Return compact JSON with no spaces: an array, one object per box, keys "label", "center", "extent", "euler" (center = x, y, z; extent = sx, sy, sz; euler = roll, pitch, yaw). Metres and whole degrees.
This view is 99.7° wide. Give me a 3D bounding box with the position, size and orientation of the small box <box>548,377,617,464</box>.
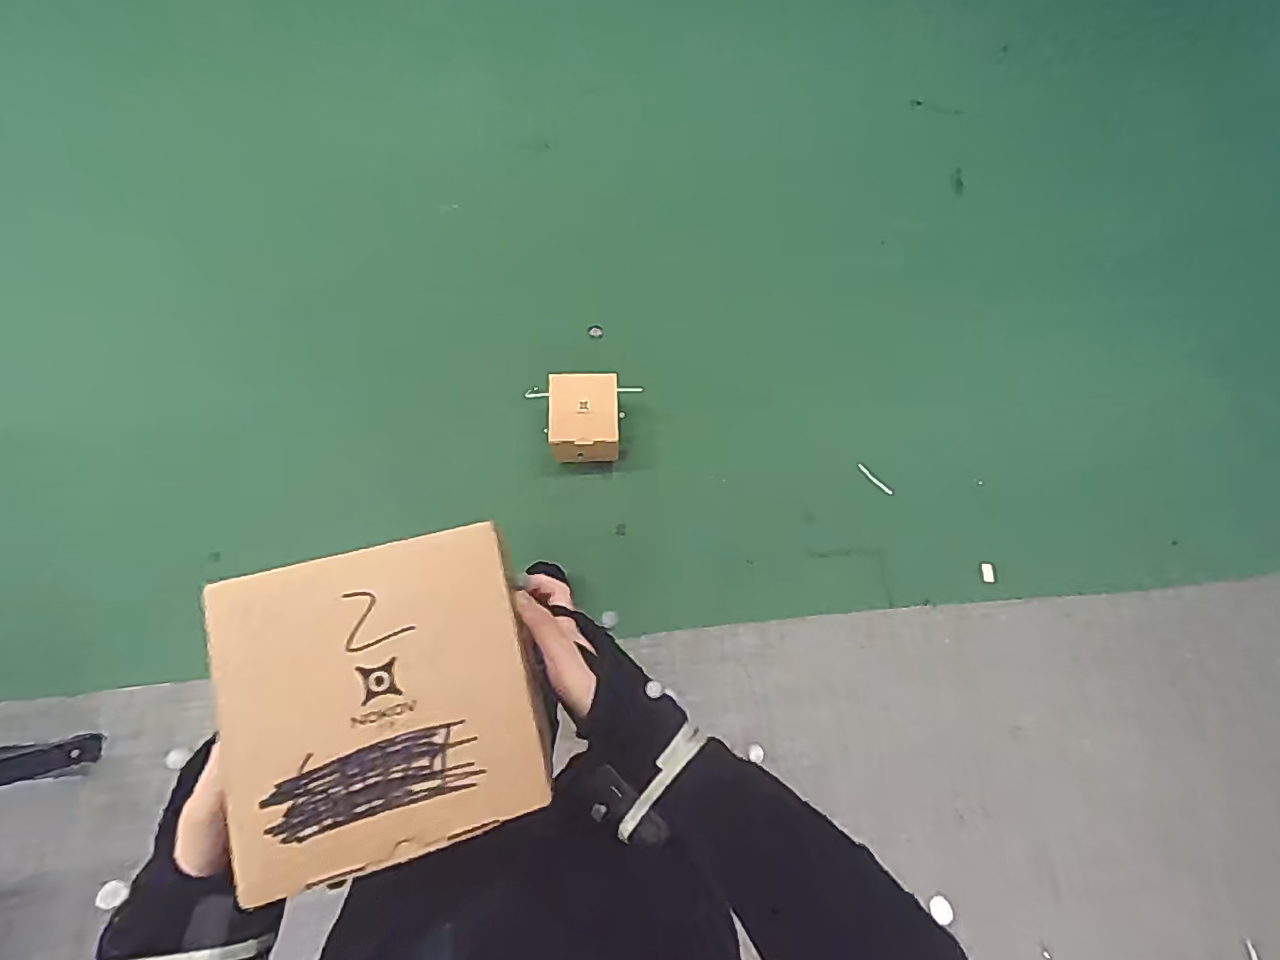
[{"label":"small box","center":[-0.144,-0.146,1.369],"extent":[0.168,0.176,0.179],"euler":[-1,77,-4]}]
